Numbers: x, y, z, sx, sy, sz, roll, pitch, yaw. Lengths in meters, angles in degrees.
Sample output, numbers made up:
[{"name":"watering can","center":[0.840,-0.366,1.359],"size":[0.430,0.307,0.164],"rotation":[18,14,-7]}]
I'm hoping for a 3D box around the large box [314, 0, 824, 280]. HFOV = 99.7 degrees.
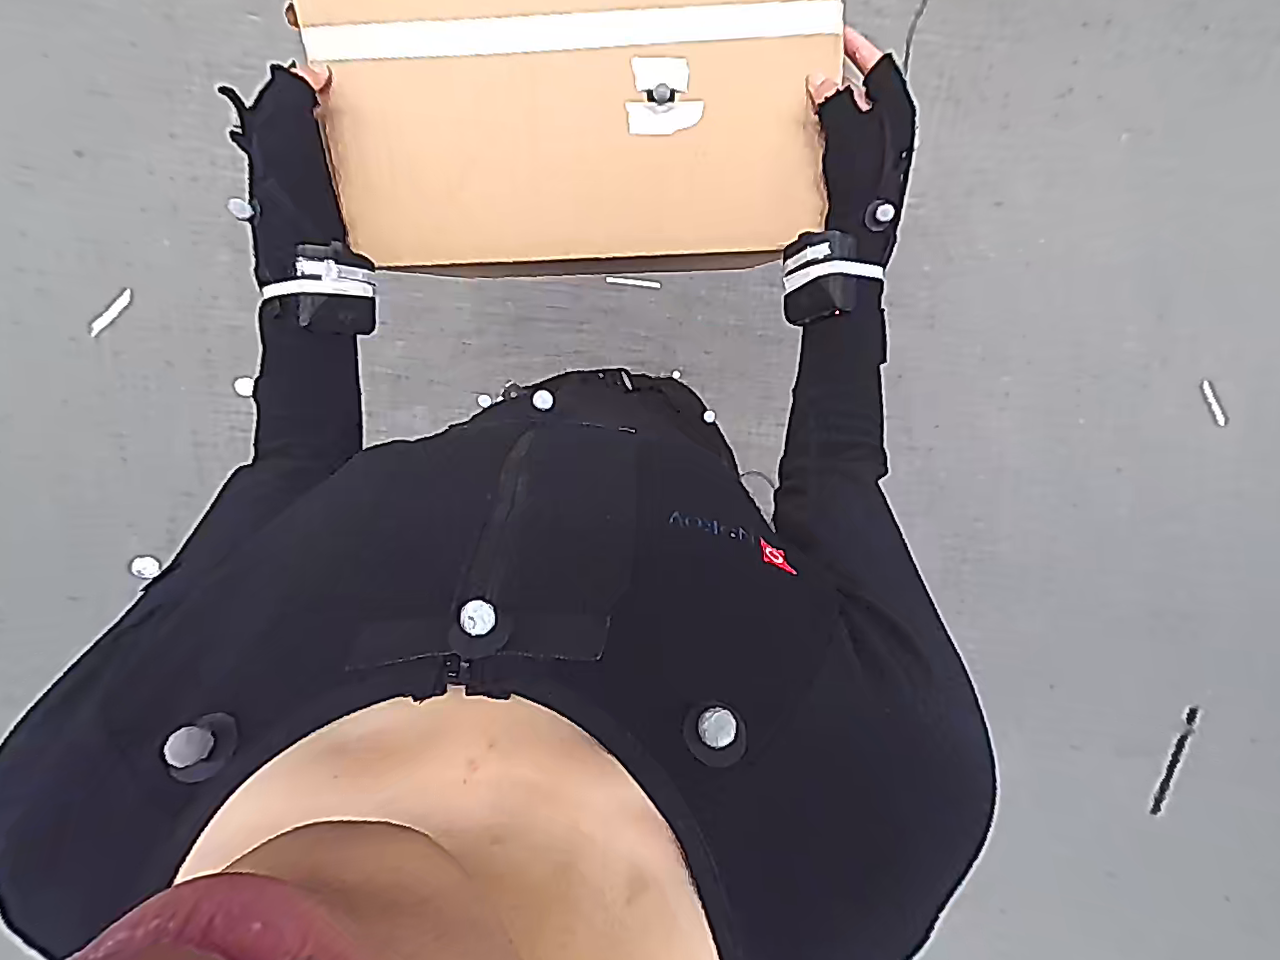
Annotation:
[{"name":"large box","center":[-0.056,-0.393,0.569],"size":[0.408,0.320,0.320],"rotation":[-3,109,0]}]
